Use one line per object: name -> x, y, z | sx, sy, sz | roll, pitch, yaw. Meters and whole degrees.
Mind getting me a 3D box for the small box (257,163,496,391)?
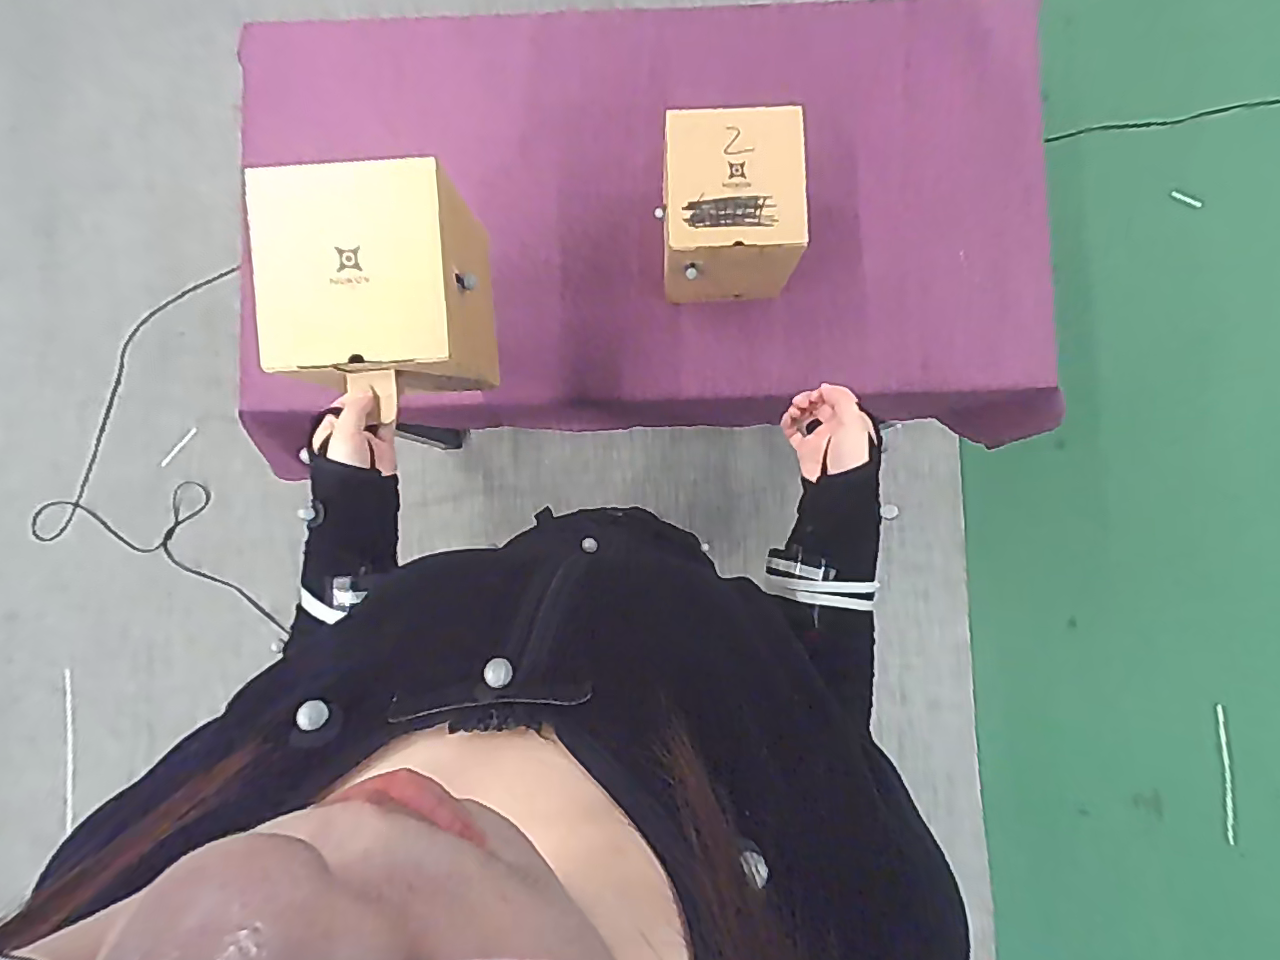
small box -> -0.254, -0.194, 0.561 | 0.168, 0.176, 0.179 | -3, 92, 0
